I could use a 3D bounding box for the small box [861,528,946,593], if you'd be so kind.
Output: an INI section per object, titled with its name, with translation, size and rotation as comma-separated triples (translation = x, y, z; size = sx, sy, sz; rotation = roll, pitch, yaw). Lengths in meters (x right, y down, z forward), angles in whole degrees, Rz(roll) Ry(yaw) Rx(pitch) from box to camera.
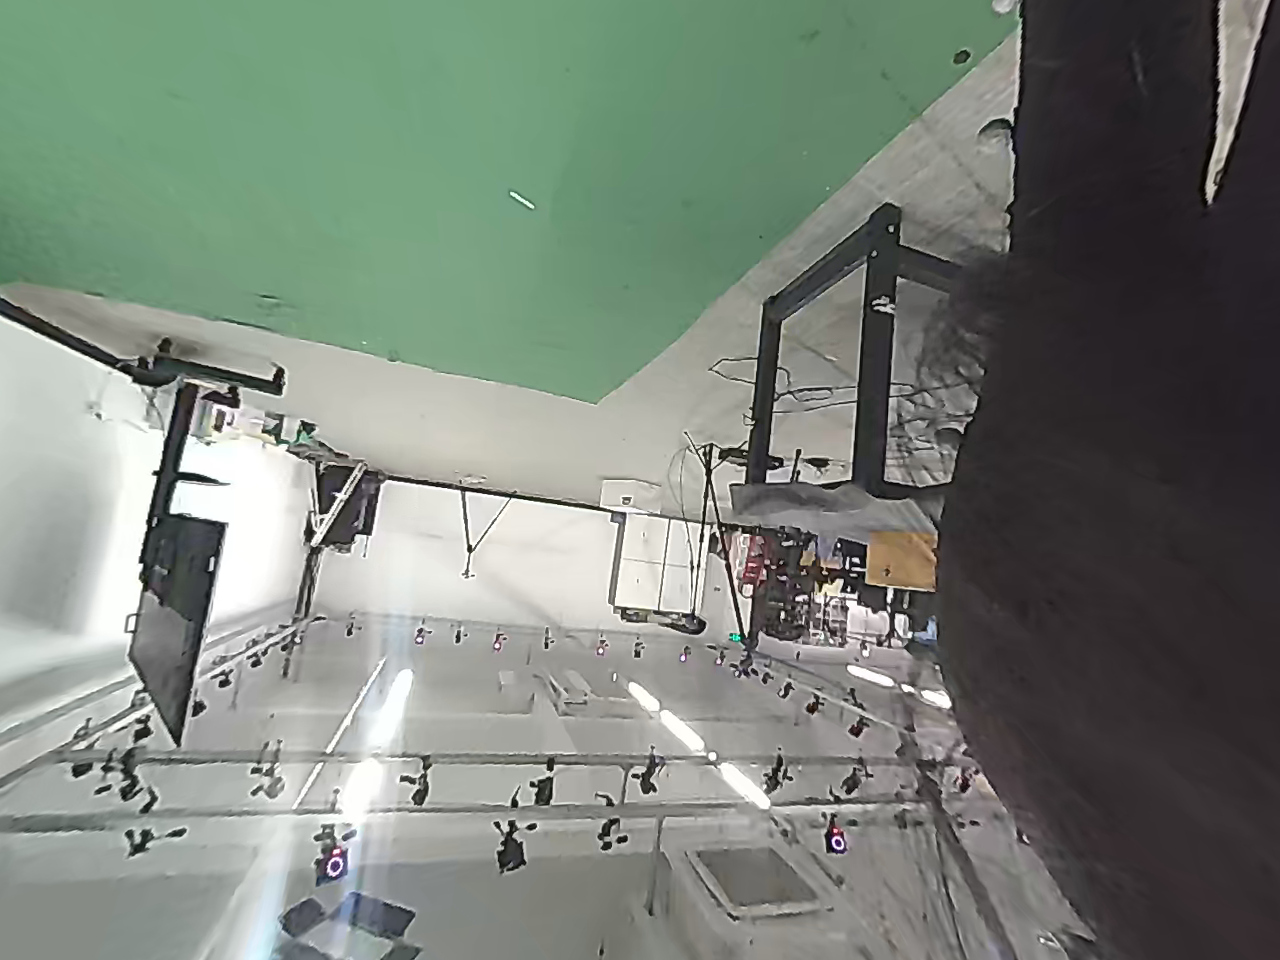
[small box]
translation = 0.811, 0.245, 1.659
size = 0.168, 0.176, 0.179
rotation = 10, 170, -17
